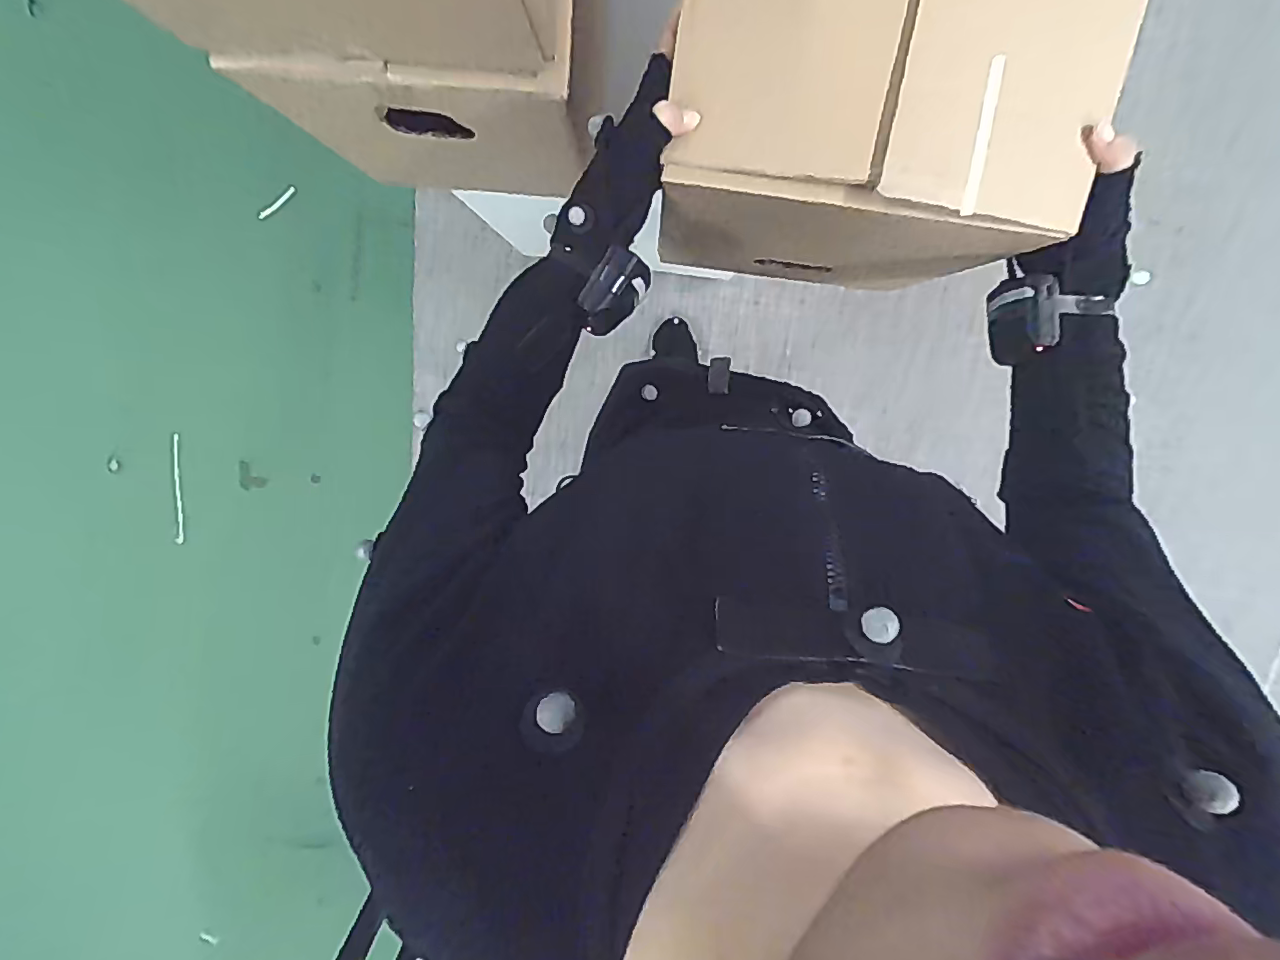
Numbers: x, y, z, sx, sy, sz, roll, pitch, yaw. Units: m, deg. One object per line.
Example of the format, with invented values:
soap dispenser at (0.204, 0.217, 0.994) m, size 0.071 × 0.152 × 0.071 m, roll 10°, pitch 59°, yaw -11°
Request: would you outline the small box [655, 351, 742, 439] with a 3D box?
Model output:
small box at (0.139, -0.219, 1.369) m, size 0.168 × 0.176 × 0.179 m, roll 8°, pitch 107°, yaw -11°
